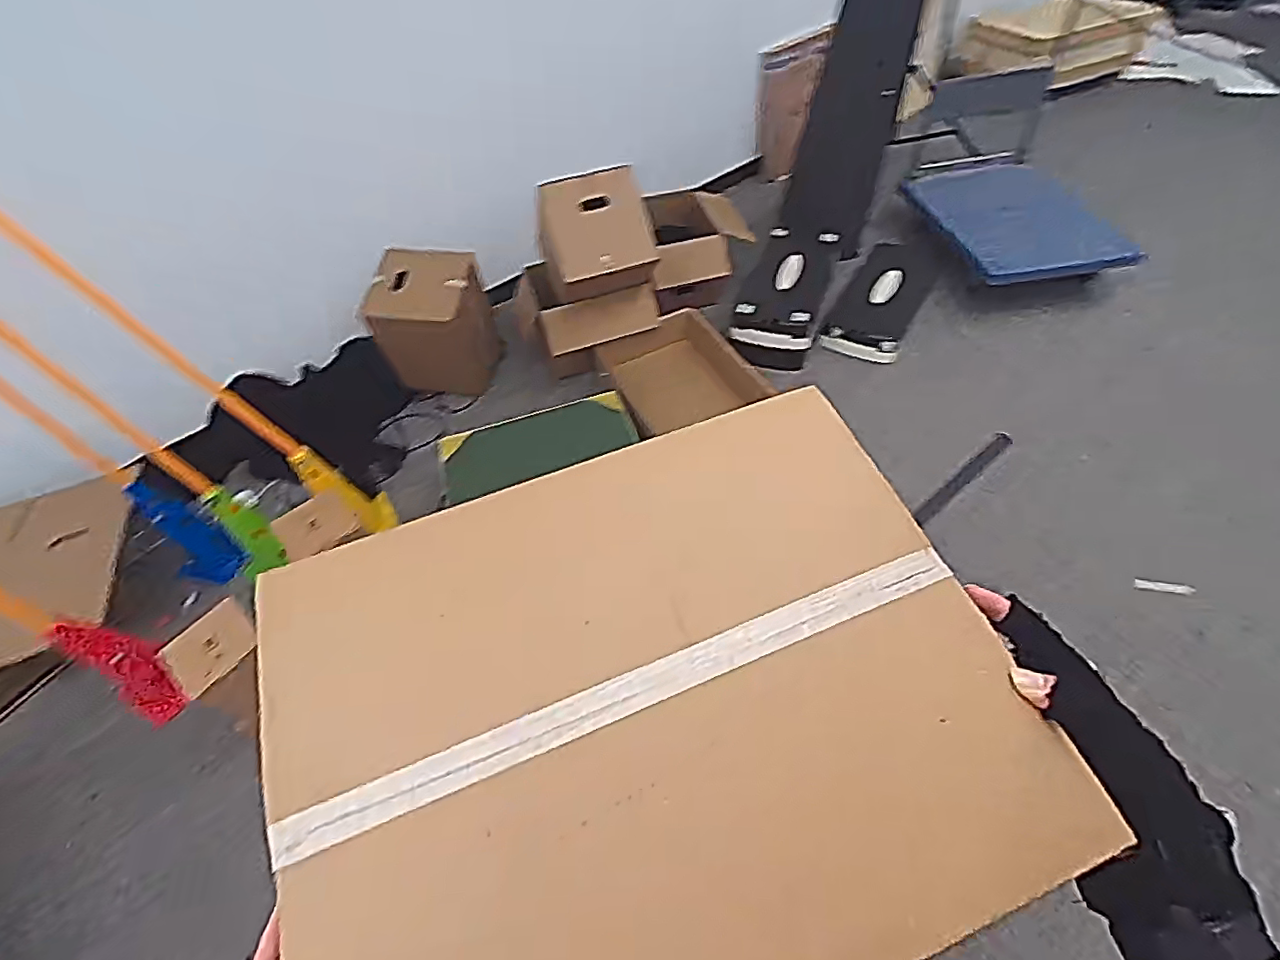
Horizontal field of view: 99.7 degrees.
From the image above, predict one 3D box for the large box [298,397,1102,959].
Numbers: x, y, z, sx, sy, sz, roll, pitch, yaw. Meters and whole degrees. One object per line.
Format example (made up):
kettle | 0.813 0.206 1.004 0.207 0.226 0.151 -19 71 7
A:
large box | 0.012 0.196 0.453 0.408 0.320 0.320 -20 63 -9
